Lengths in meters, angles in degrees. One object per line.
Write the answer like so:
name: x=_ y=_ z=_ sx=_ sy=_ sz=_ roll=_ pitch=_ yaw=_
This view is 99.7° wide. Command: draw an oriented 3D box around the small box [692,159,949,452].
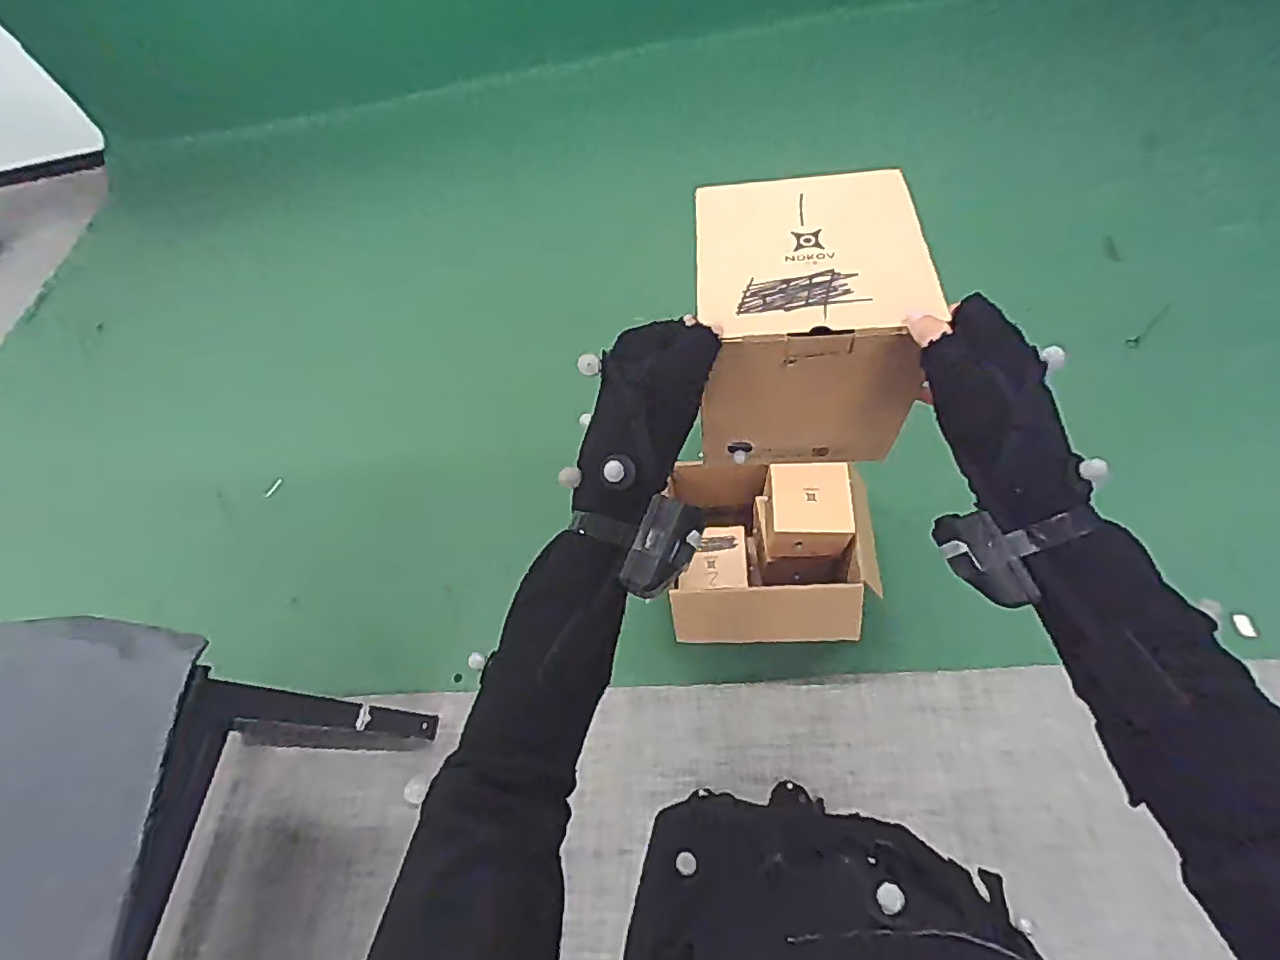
small box: x=0.132 y=-0.134 z=0.462 sx=0.168 sy=0.176 sz=0.179 roll=-1 pitch=60 yaw=8

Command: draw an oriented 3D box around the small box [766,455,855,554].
small box: x=0.376 y=0.060 z=1.219 sx=0.168 sy=0.176 sz=0.179 roll=0 pitch=62 yaw=8
